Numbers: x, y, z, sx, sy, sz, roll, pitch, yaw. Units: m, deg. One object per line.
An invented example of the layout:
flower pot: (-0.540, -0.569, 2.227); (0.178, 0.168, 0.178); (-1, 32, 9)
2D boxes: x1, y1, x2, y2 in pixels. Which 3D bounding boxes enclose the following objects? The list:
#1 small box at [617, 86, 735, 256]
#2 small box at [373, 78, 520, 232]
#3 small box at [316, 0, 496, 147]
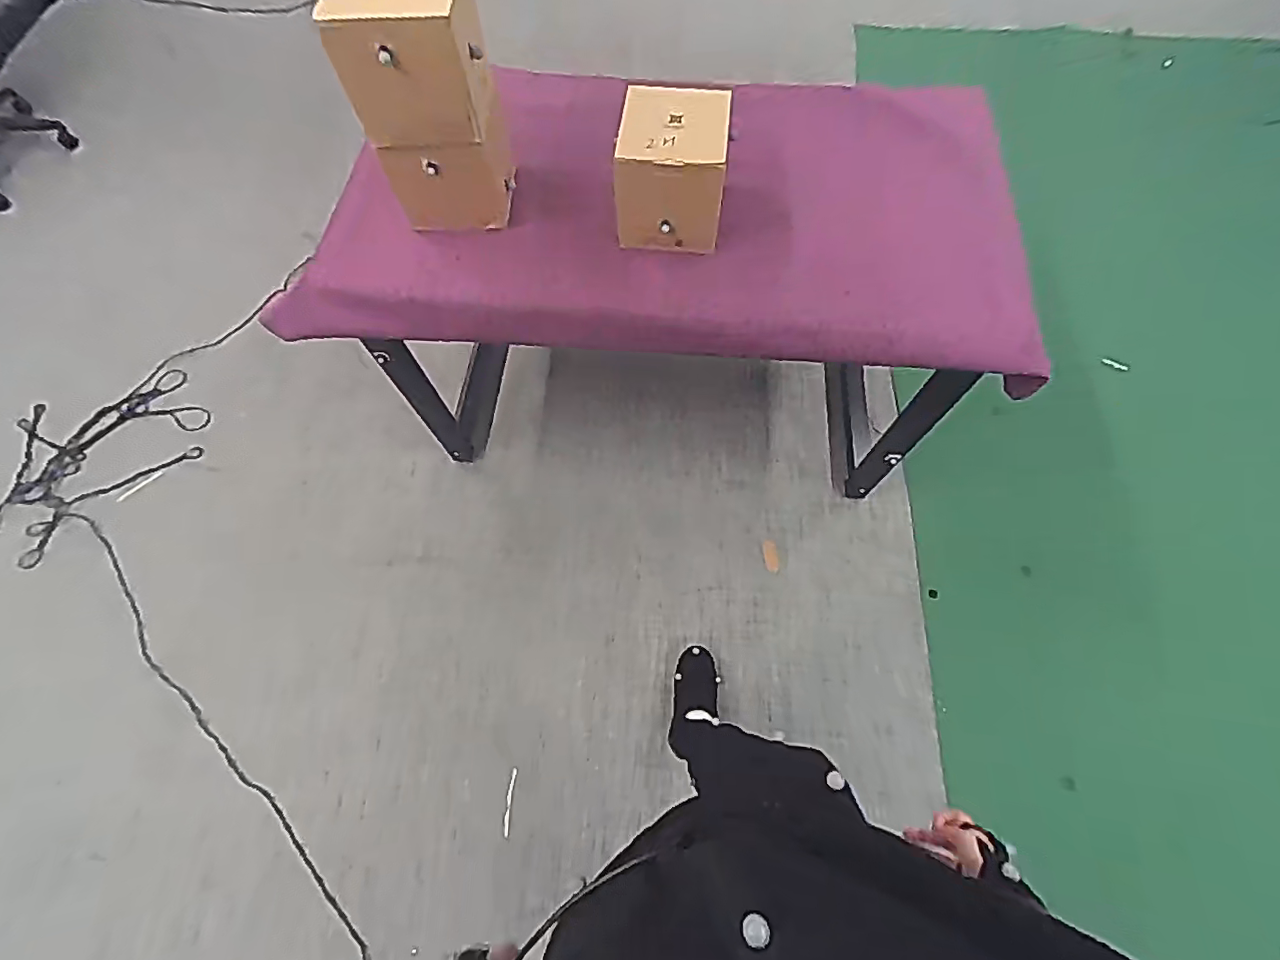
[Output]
small box: (0.058, -0.505, 0.893); (0.168, 0.176, 0.179); (6, 67, 4)
small box: (-0.317, -0.548, 0.922); (0.179, 0.176, 0.168); (1, 67, 1)
small box: (-0.315, -0.607, 0.771); (0.179, 0.176, 0.168); (-1, 68, 1)
